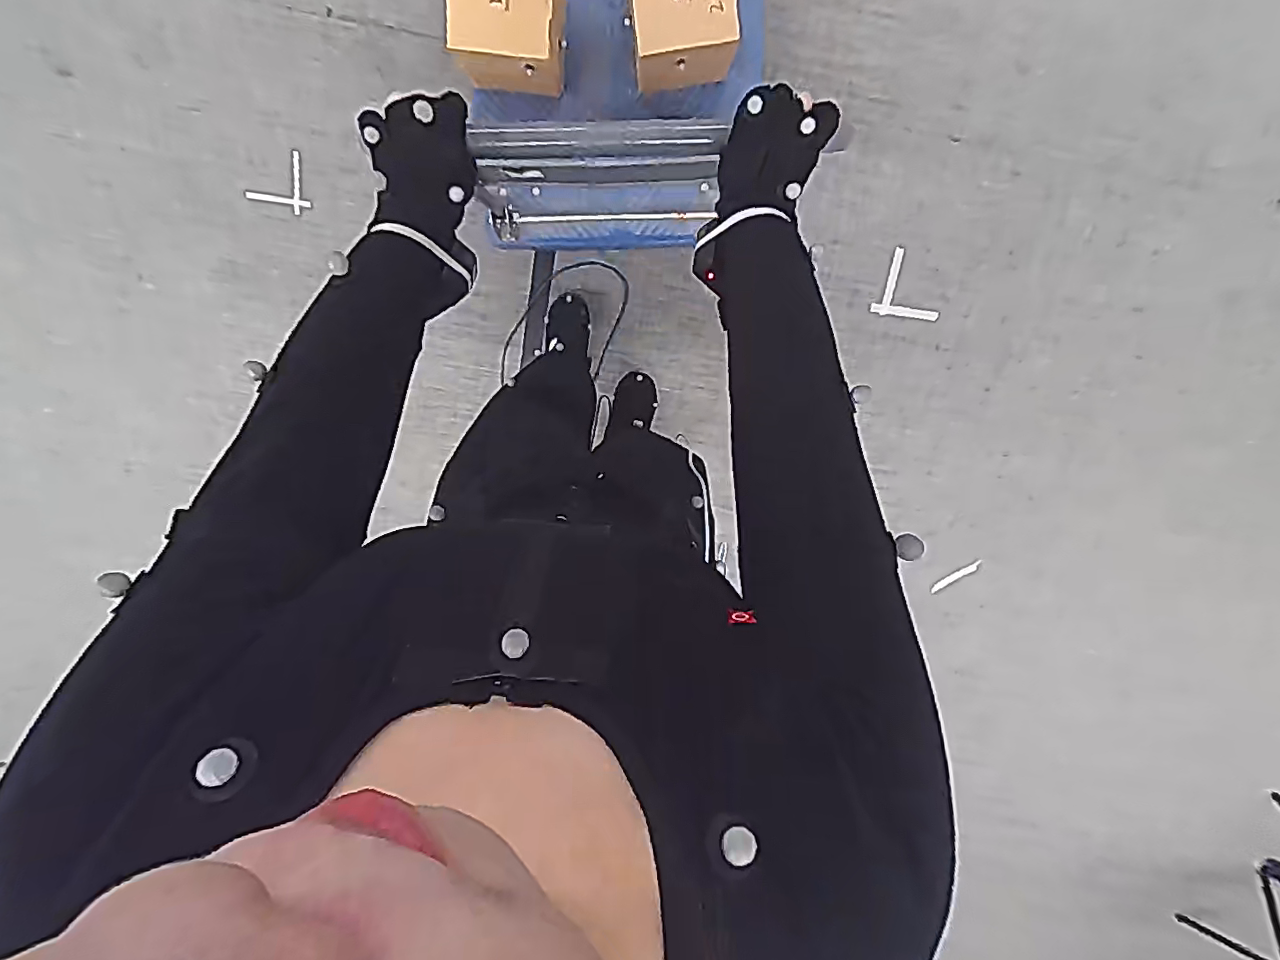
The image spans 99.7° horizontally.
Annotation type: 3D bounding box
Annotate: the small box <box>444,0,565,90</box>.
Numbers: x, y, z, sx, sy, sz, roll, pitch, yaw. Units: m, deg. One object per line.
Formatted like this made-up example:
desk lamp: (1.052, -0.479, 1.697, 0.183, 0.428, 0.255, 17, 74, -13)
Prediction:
small box: (-0.234, -0.823, 0.959, 0.179, 0.176, 0.168, 4, 107, -3)

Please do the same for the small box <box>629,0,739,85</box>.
small box: (0.071, -0.831, 0.955, 0.179, 0.176, 0.168, -7, 108, 3)
